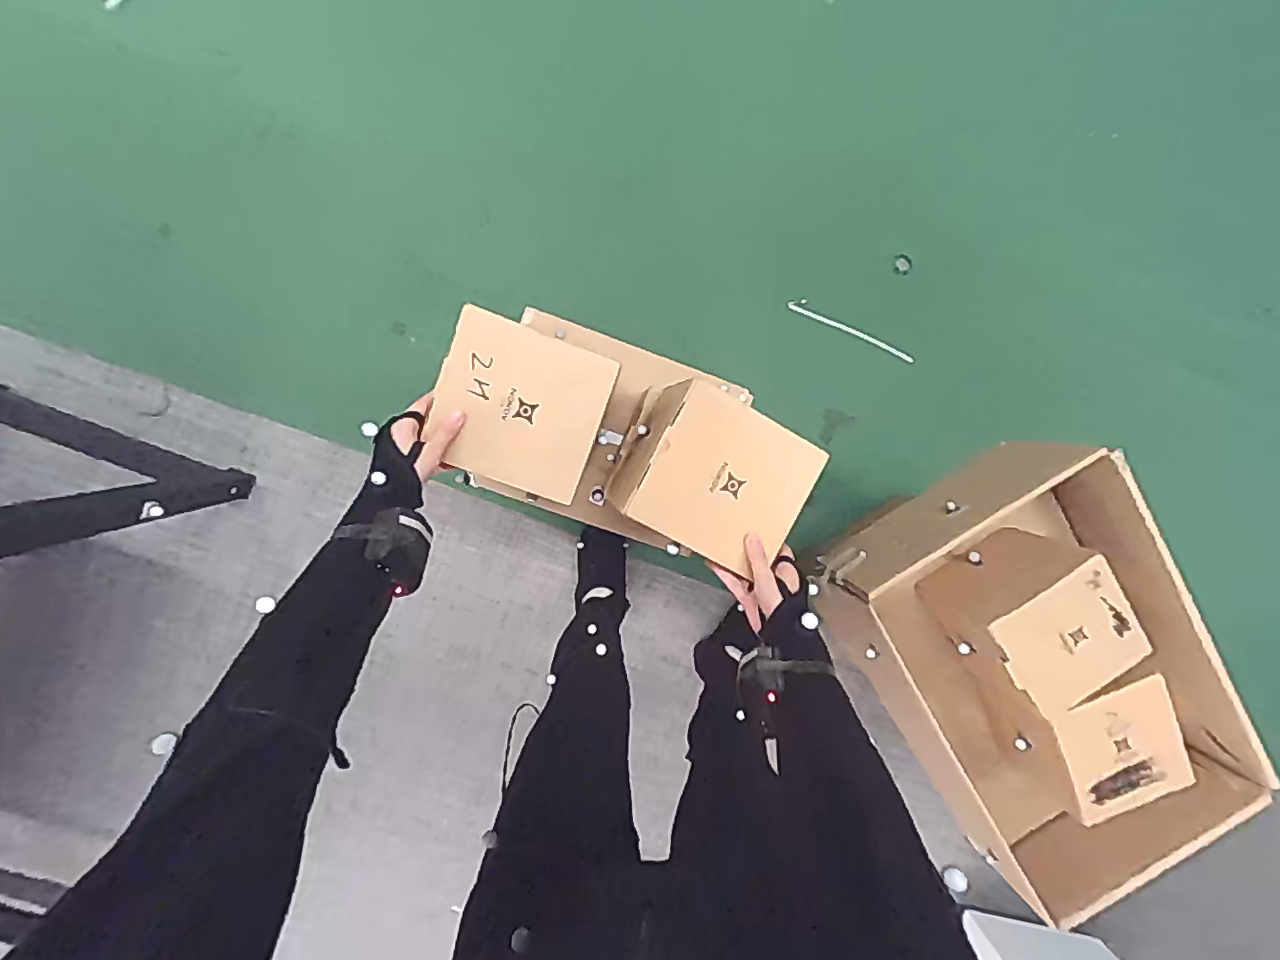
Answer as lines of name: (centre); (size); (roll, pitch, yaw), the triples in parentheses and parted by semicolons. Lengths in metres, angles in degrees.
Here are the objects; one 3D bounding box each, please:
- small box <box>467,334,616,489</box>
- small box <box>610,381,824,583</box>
small box: (-0.141, -0.100, 0.819); (0.168, 0.176, 0.179); (17, 95, -5)
small box: (0.080, -0.002, 0.660); (0.179, 0.176, 0.168); (29, 89, -9)
